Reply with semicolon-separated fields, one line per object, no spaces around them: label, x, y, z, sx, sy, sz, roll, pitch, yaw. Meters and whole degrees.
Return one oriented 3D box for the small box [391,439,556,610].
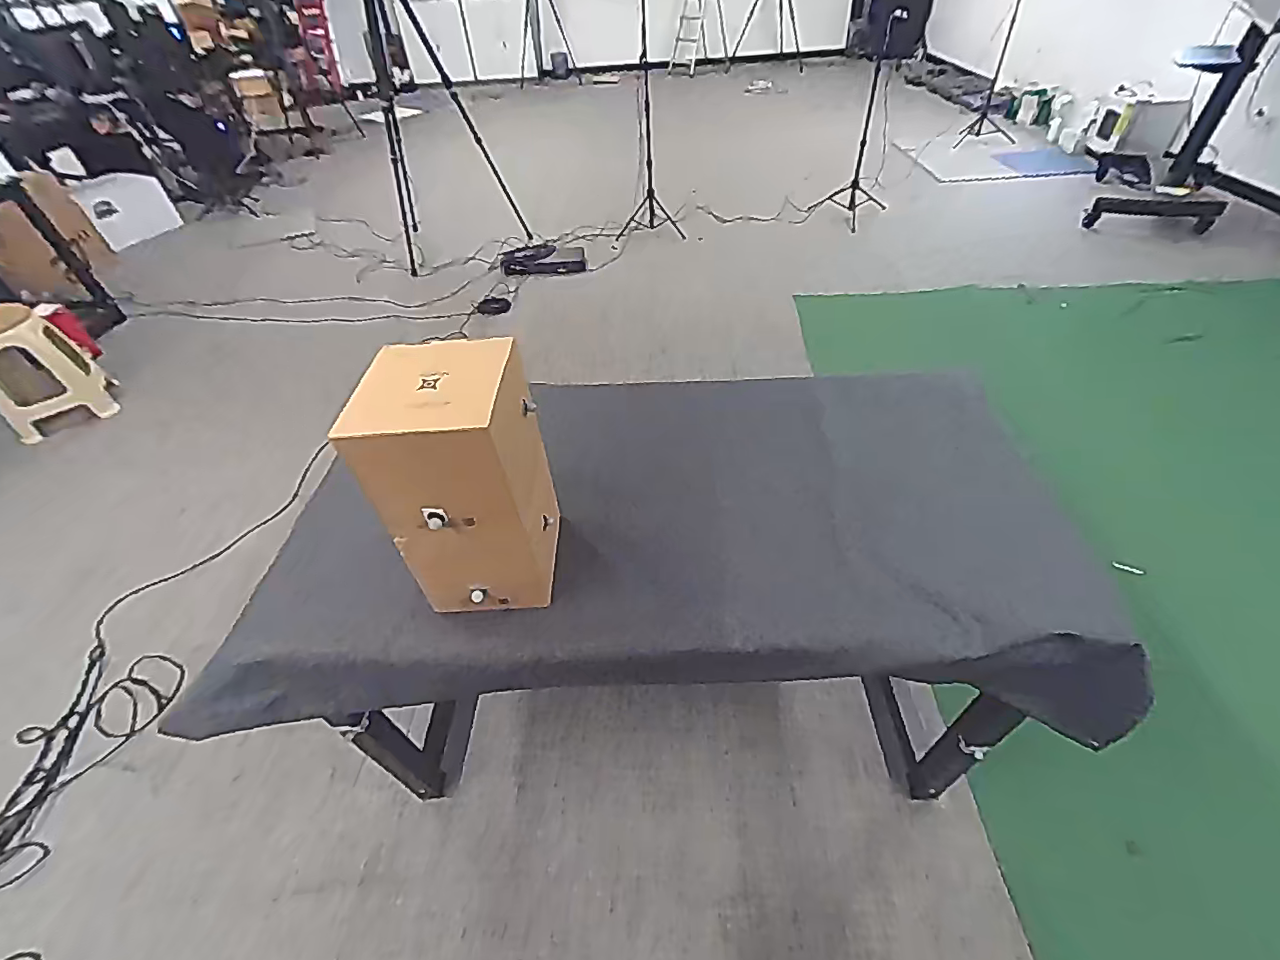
small box;-0.216;0.063;0.761;0.168;0.176;0.179;-3;46;1

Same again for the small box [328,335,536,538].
small box;-0.225;-0.052;0.646;0.168;0.176;0.179;-4;46;2
